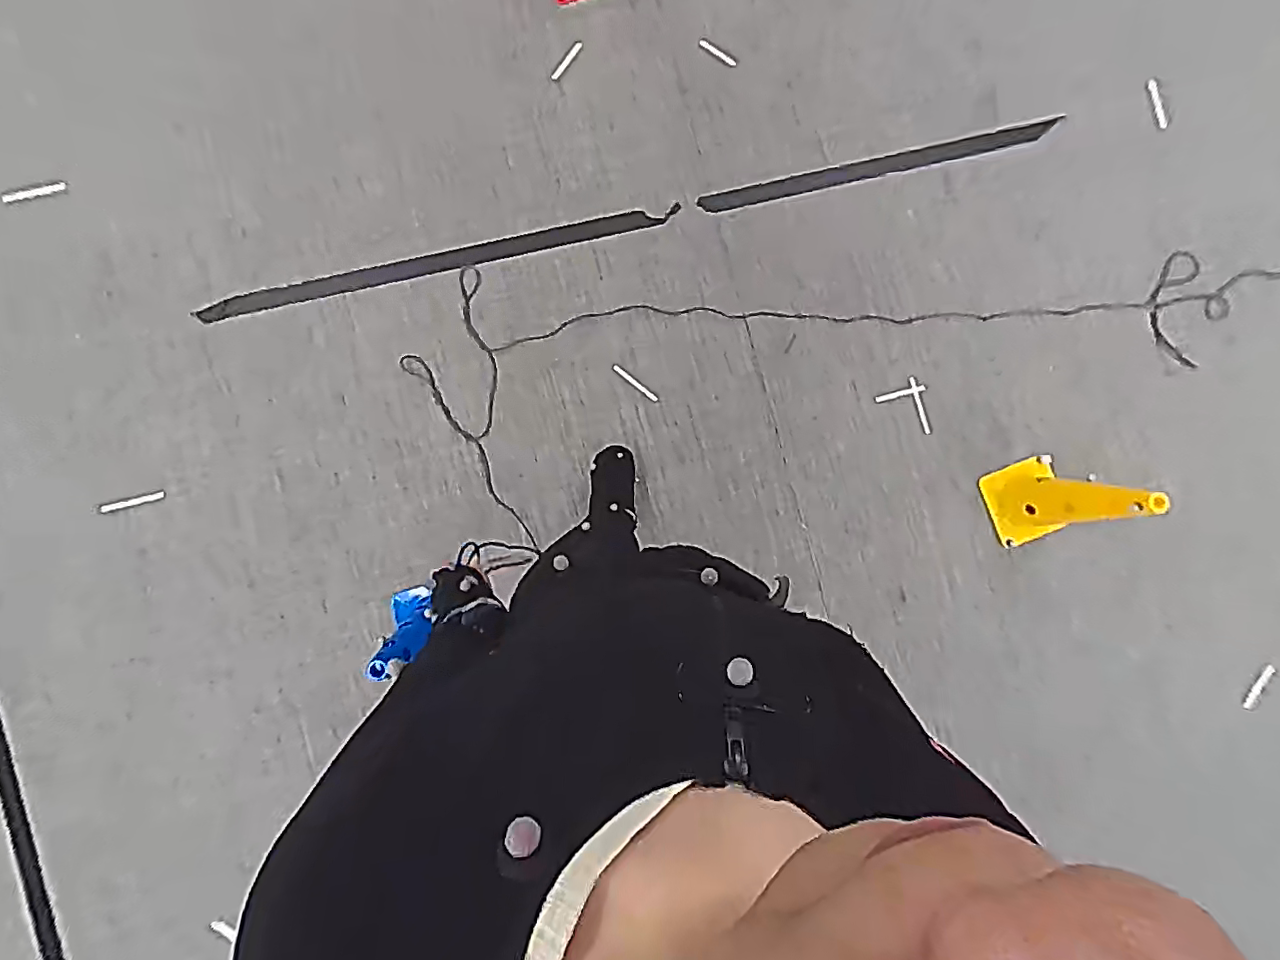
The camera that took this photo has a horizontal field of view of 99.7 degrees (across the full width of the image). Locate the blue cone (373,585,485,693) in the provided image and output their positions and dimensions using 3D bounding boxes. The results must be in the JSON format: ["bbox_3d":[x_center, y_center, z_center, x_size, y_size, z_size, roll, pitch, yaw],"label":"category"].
[{"bbox_3d":[-0.484,0.364,1.171,0.193,0.380,0.192,-14,90,-3],"label":"blue cone"}]
